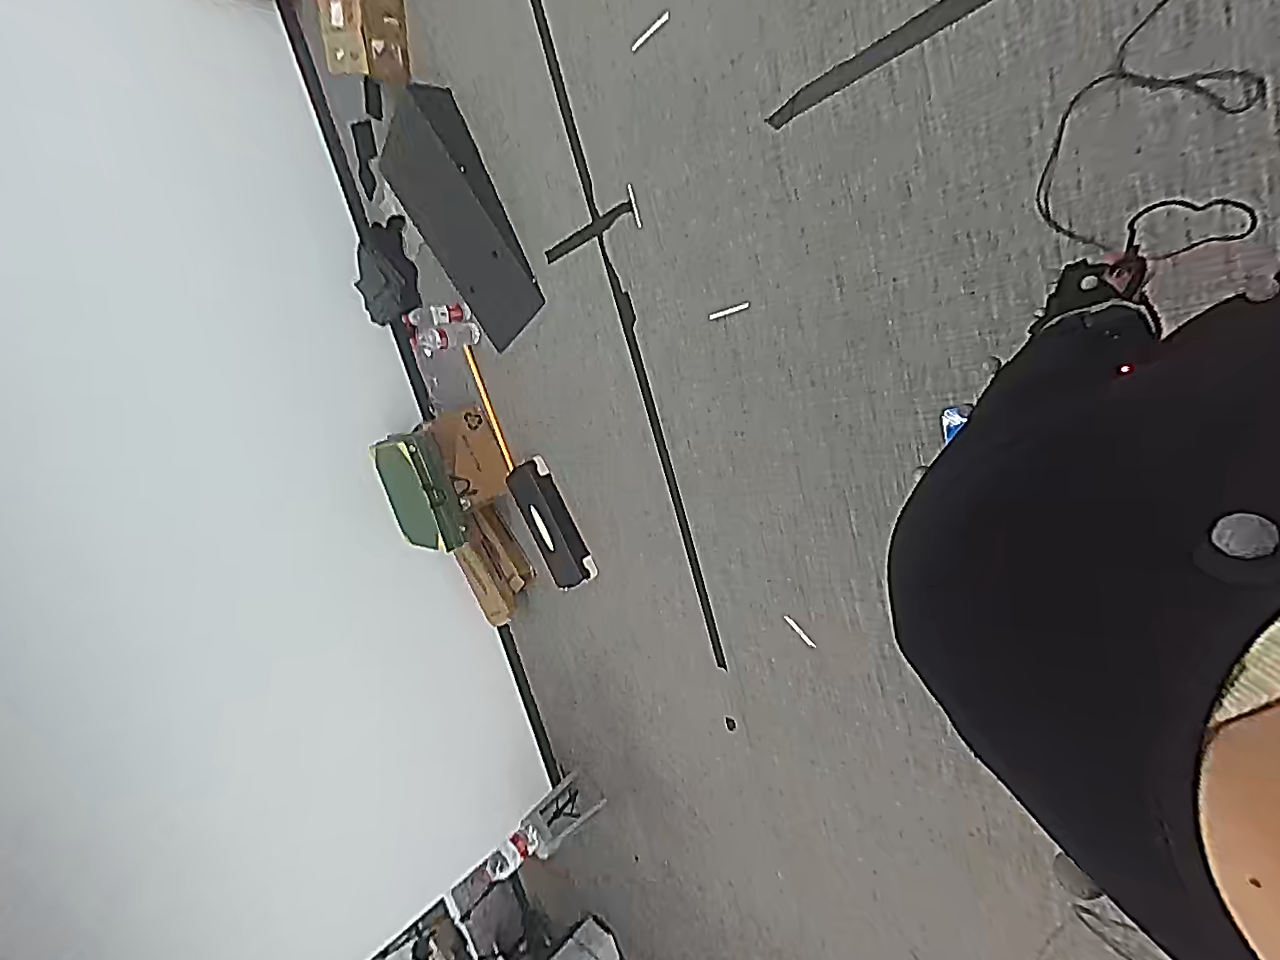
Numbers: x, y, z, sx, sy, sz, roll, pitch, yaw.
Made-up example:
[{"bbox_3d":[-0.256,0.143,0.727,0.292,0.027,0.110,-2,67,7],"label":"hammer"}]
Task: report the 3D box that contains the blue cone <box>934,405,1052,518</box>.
[{"bbox_3d":[0.695,-0.017,1.125,0.193,0.380,0.192,-2,108,49],"label":"blue cone"}]
